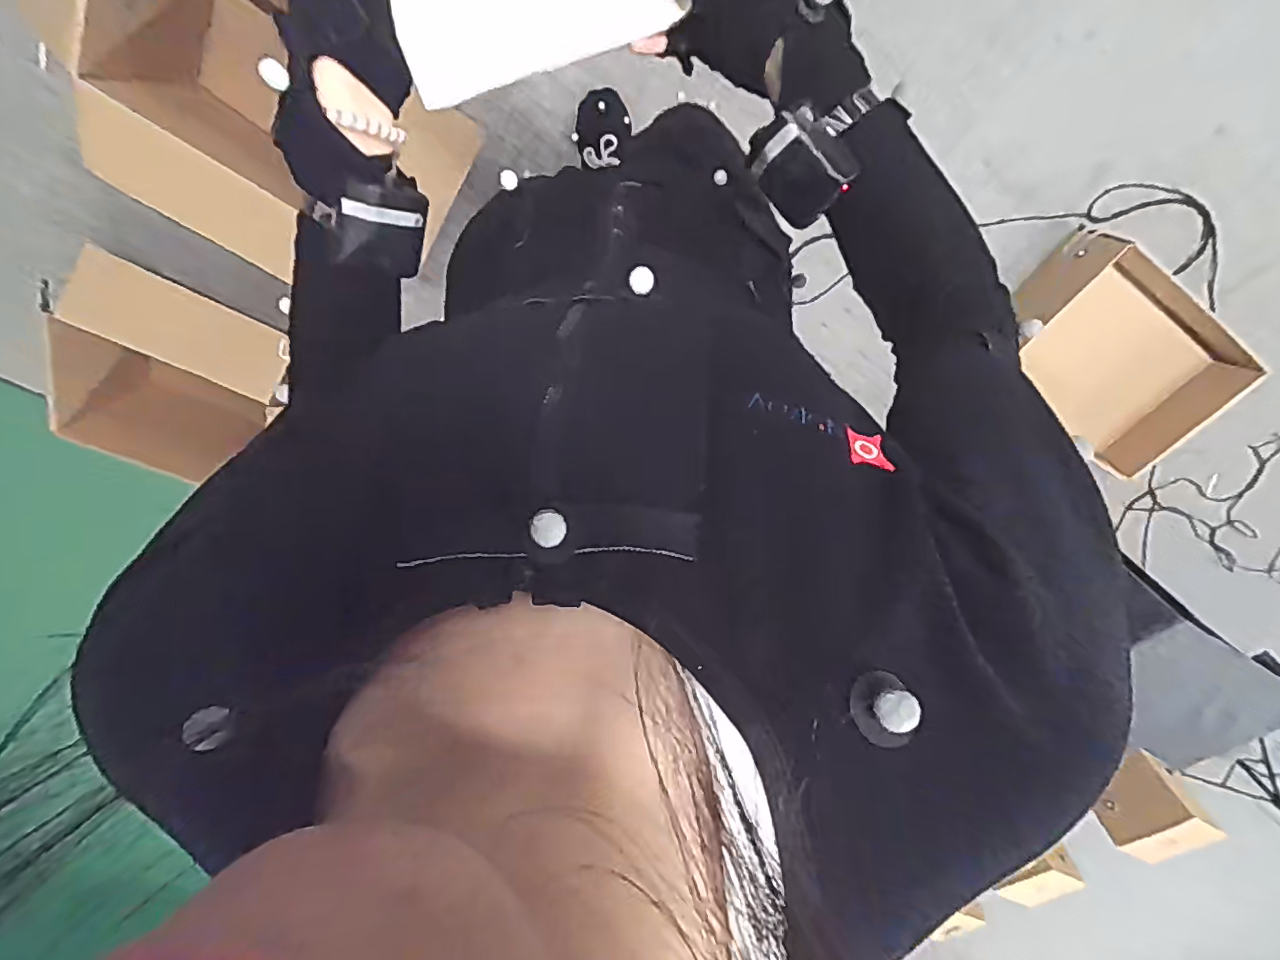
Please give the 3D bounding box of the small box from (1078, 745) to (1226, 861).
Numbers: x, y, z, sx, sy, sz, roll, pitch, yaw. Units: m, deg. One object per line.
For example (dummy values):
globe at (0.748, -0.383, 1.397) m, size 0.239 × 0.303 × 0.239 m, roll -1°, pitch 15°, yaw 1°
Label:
small box at (1.199, 0.767, 1.286) m, size 0.168 × 0.176 × 0.179 m, roll 30°, pitch 119°, yaw -21°

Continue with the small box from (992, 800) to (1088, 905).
small box at (1.005, 0.976, 1.425) m, size 0.179 × 0.176 × 0.168 m, roll 31°, pitch 118°, yaw -22°

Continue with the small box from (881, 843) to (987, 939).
small box at (0.835, 1.175, 1.551) m, size 0.179 × 0.176 × 0.168 m, roll 31°, pitch 117°, yaw -21°
